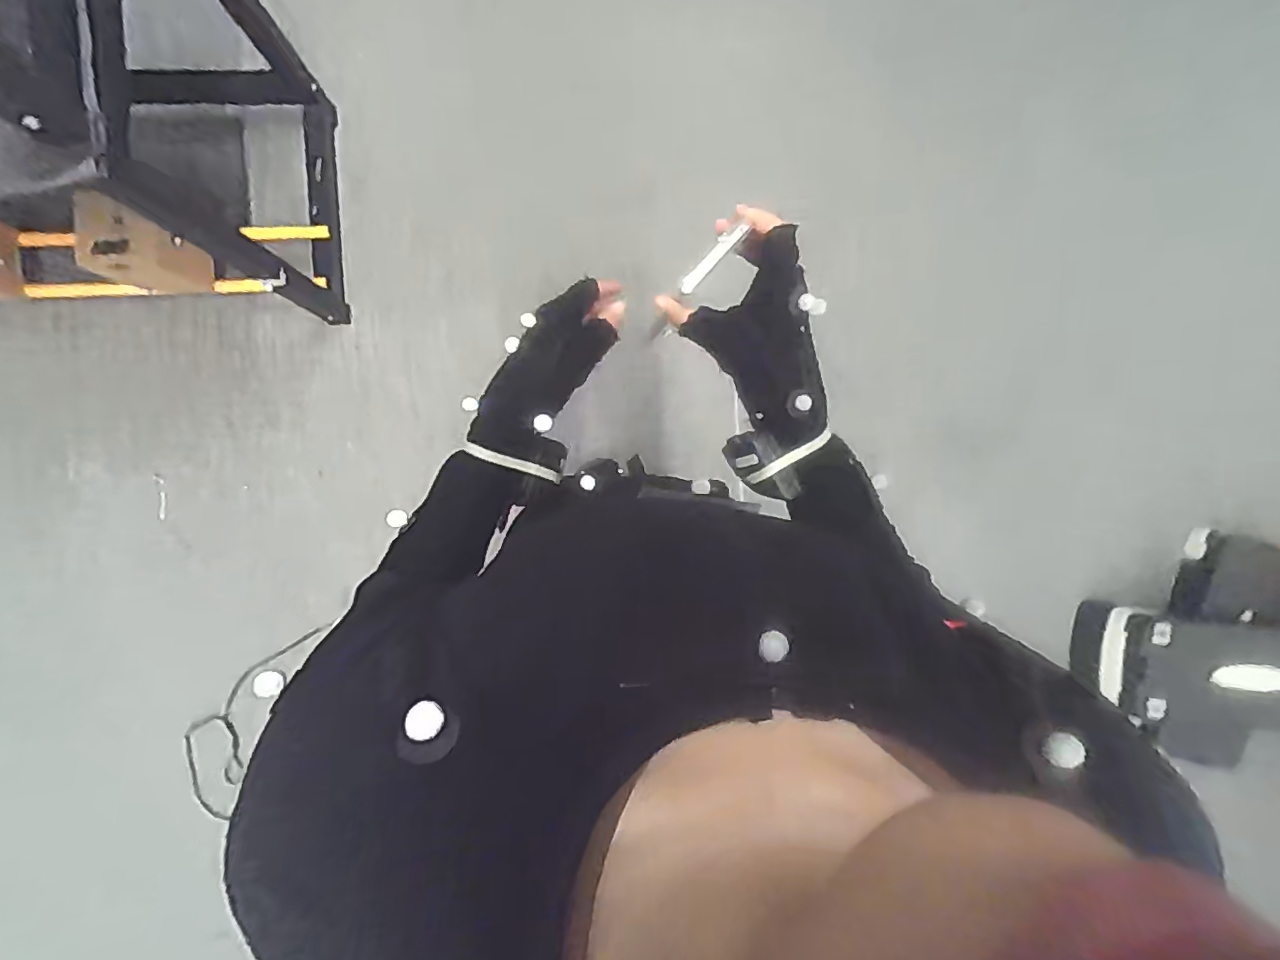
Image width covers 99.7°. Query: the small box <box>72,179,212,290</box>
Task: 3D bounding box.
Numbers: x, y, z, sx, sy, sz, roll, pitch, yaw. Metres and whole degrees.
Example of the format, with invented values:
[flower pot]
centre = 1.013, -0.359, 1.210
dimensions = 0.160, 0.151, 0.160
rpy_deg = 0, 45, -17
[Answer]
[small box]
centre = -1.096, -0.536, 1.203
dimensions = 0.168, 0.176, 0.179
rpy_deg = 1, 90, -5
